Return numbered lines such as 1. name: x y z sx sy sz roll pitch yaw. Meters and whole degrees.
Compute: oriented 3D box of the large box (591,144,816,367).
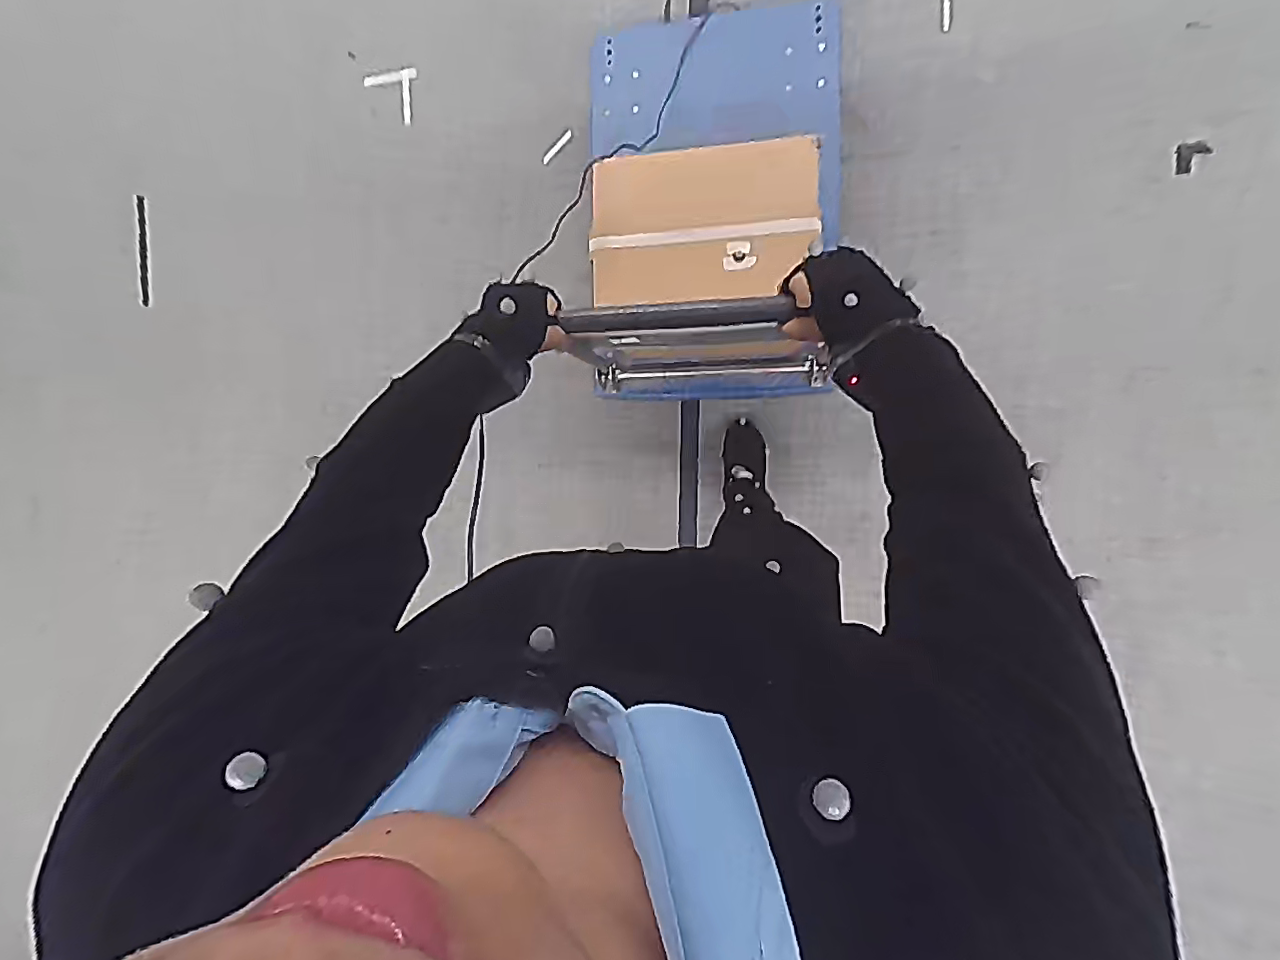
1. large box: 0.132 -0.426 1.116 0.408 0.320 0.320 -1 92 10
